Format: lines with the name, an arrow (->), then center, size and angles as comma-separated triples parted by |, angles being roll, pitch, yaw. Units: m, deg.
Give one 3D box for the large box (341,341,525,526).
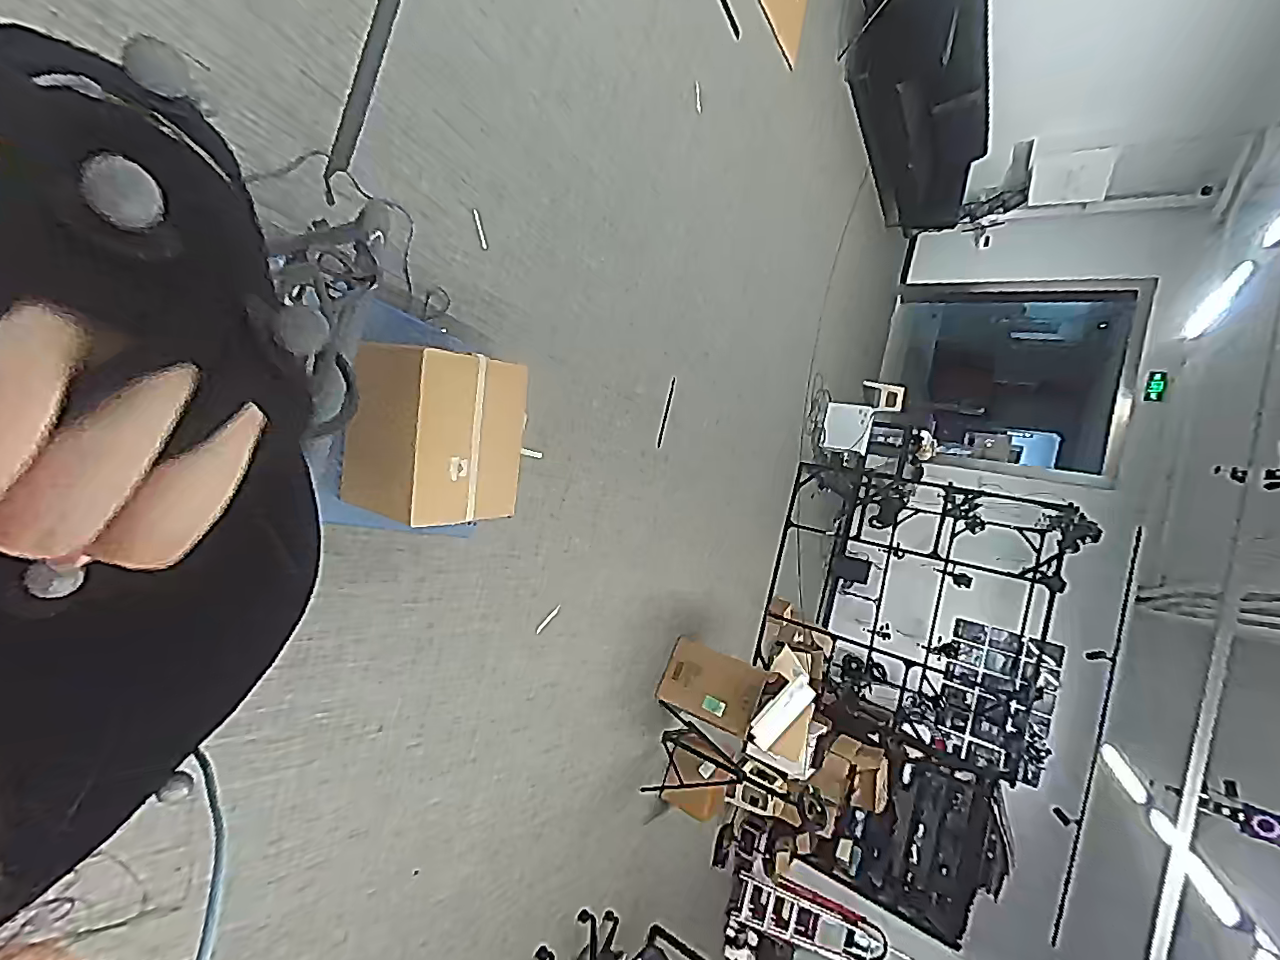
large box -> -0.530, -0.126, 1.384 | 0.320, 0.320, 0.408 | -3, 104, -55
